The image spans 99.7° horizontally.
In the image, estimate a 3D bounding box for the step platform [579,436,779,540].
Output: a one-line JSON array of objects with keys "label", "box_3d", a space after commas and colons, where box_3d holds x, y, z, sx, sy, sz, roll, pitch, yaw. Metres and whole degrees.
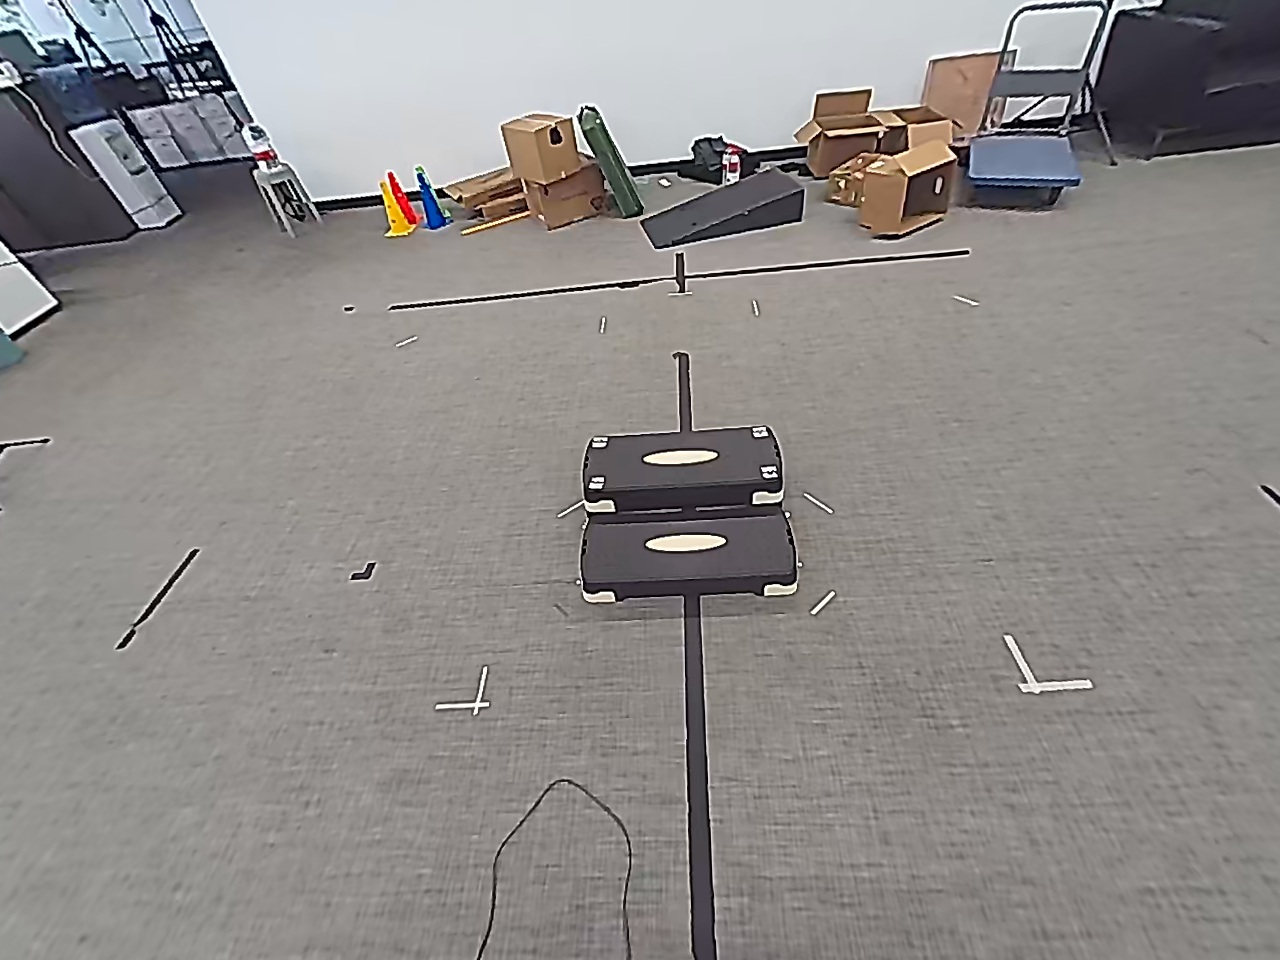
[{"label": "step platform", "box_3d": [0.129, 0.023, 1.879, 0.684, 0.204, 0.286, -4, 46, 4]}]
